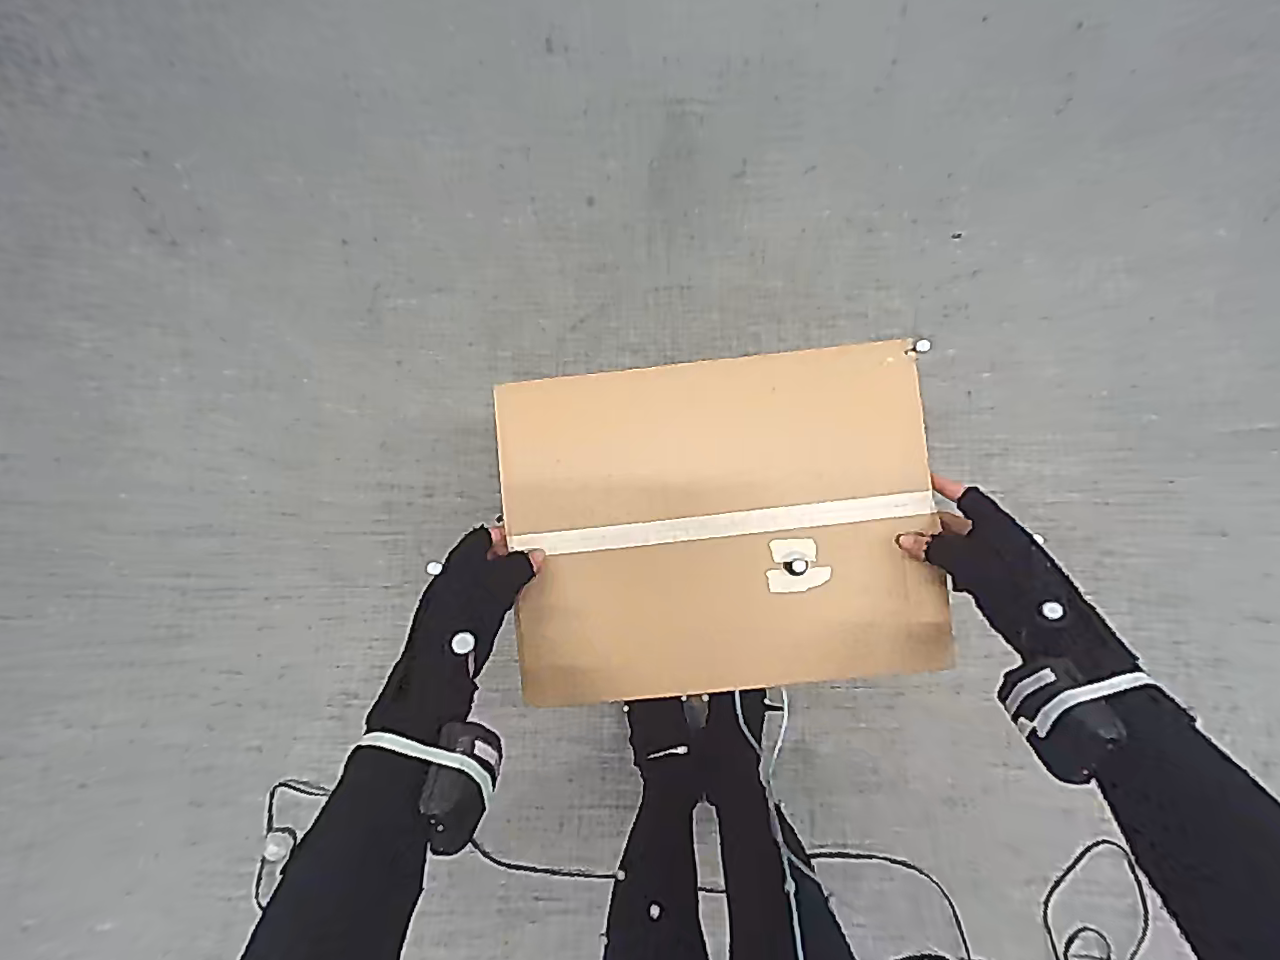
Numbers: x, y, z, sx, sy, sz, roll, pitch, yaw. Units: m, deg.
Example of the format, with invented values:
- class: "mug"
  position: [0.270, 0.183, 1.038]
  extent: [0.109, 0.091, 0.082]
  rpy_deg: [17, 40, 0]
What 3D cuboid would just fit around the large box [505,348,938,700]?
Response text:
- class: "large box"
  position: [0.078, 0.052, 0.683]
  extent: [0.408, 0.320, 0.320]
  rpy_deg: [-6, 87, 1]
